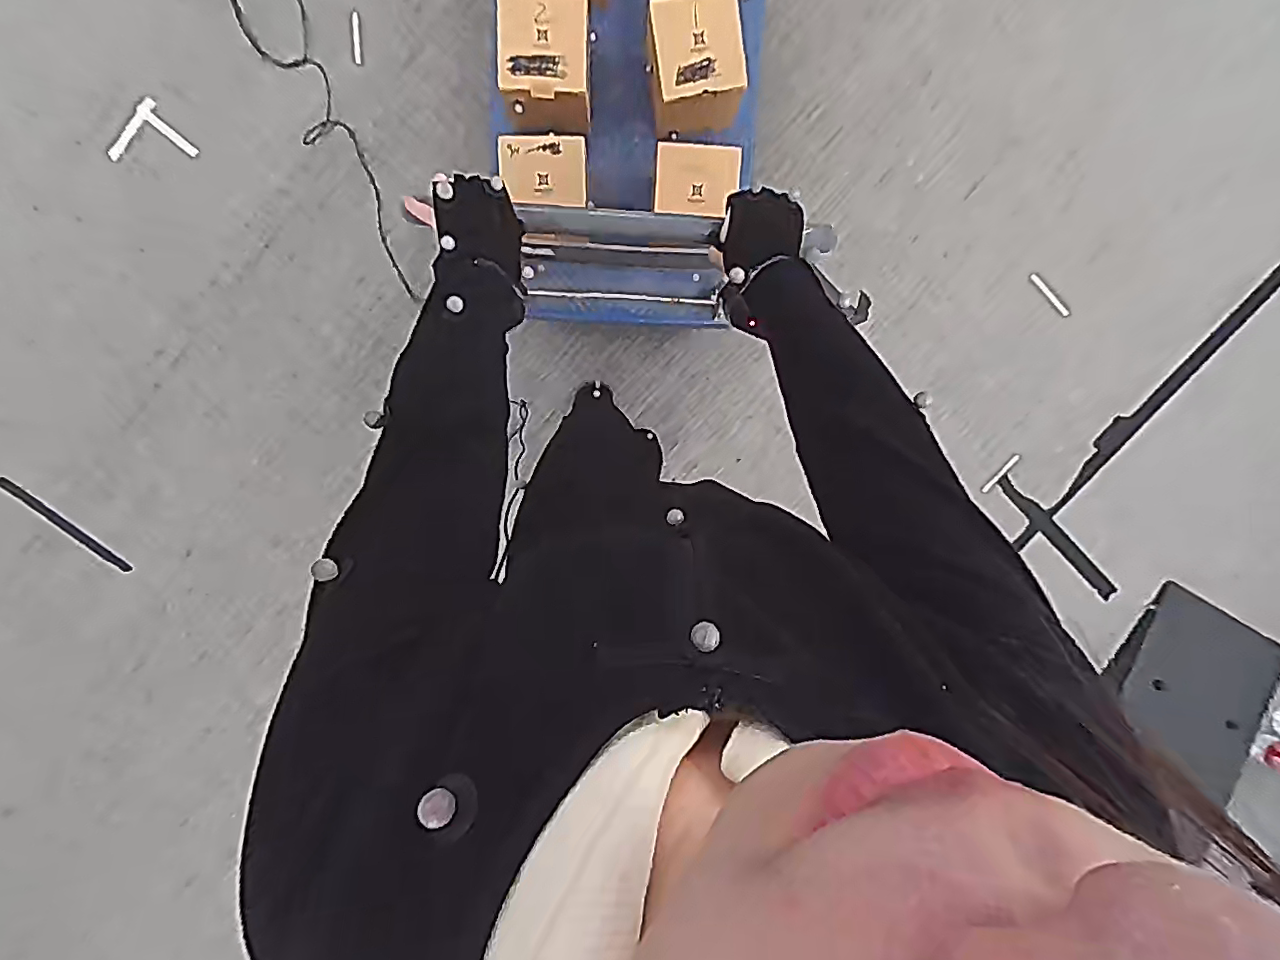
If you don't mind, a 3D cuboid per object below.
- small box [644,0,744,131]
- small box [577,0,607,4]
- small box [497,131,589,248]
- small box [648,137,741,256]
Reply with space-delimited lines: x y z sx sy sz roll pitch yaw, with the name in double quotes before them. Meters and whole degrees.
"small box" 0.104 -0.837 1.090 0.168 0.176 0.179 -10 99 -1
"small box" -0.135 -1.078 1.038 0.168 0.176 0.179 4 100 -3
"small box" -0.192 -0.588 1.116 0.168 0.176 0.179 -1 100 -3
"small box" 0.106 -0.582 1.133 0.168 0.176 0.179 3 99 -4
